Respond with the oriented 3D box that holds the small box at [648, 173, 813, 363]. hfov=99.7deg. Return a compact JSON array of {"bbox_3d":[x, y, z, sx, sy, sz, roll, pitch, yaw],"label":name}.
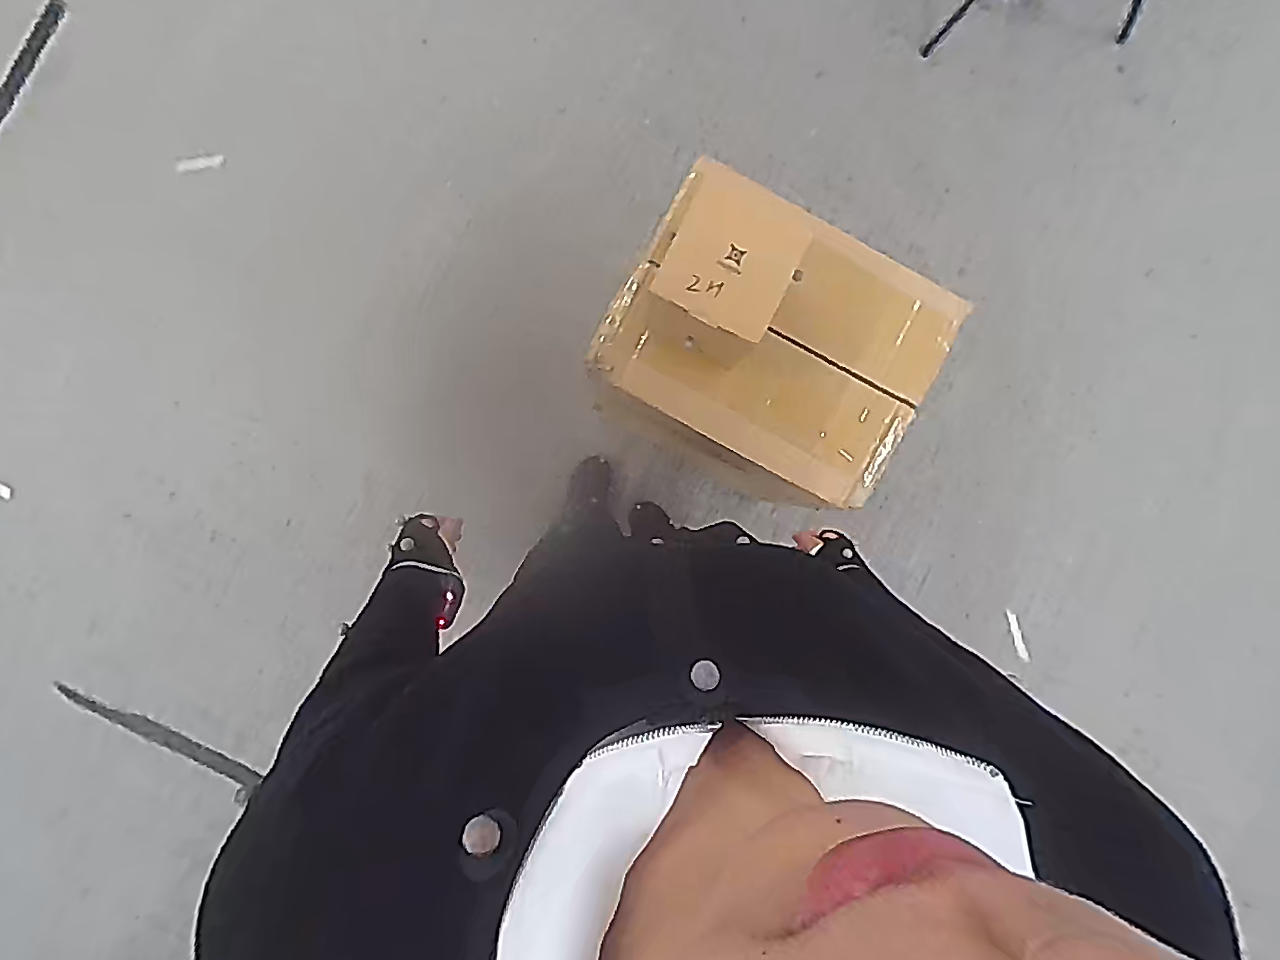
[{"bbox_3d":[0.118,-0.297,0.797,0.168,0.176,0.179,27,90,-2],"label":"small box"}]
